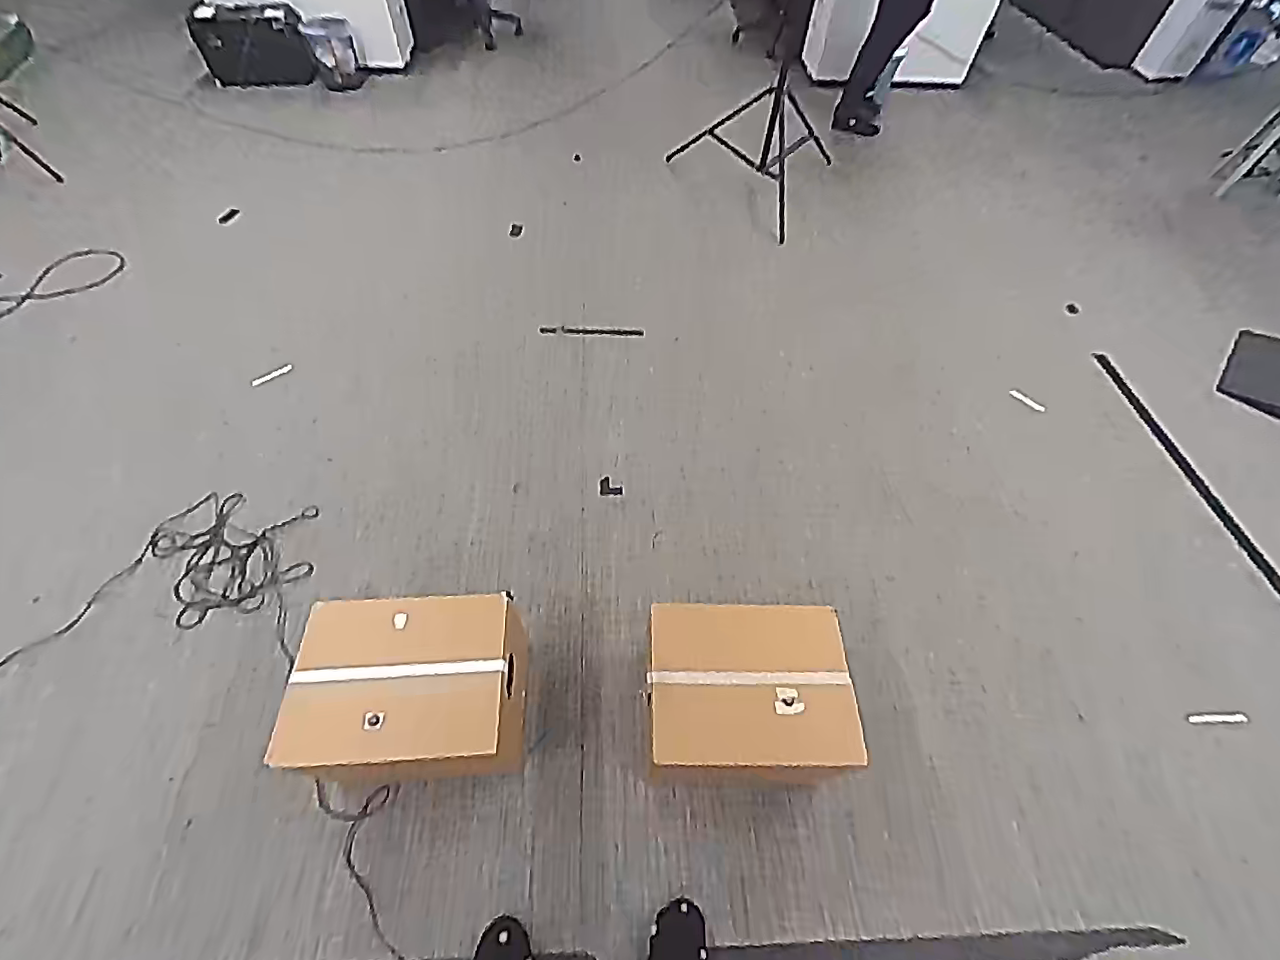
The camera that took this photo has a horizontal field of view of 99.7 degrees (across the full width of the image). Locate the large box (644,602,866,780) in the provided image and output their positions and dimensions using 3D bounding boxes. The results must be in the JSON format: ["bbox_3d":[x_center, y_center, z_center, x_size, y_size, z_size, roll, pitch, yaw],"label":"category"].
[{"bbox_3d":[0.219,0.480,1.215,0.408,0.320,0.320,2,56,-3],"label":"large box"}]
